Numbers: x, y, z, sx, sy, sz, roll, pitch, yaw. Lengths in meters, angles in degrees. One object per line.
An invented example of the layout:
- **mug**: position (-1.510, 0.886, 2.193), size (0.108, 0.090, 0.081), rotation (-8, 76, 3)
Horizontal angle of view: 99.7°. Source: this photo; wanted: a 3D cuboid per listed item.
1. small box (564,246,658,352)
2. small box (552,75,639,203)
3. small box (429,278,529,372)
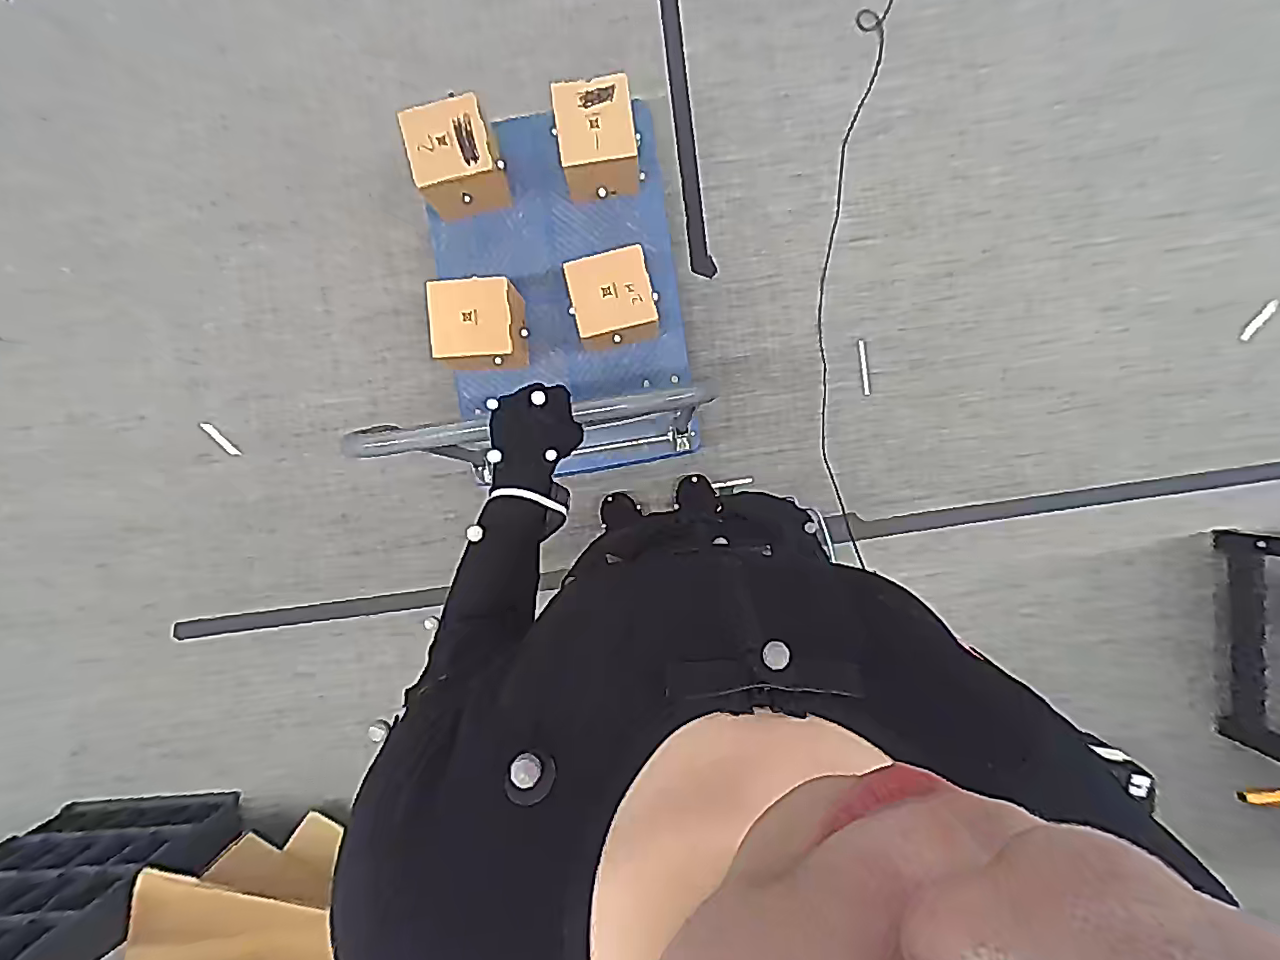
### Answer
- **small box**: position (-0.060, -0.403, 1.235), size (0.179, 0.176, 0.168), rotation (-14, 92, 1)
- **small box**: position (-0.095, -0.762, 1.224), size (0.168, 0.176, 0.179), rotation (-8, 93, 1)
- **small box**: position (-0.363, -0.348, 1.241), size (0.179, 0.176, 0.168), rotation (-5, 91, -1)
